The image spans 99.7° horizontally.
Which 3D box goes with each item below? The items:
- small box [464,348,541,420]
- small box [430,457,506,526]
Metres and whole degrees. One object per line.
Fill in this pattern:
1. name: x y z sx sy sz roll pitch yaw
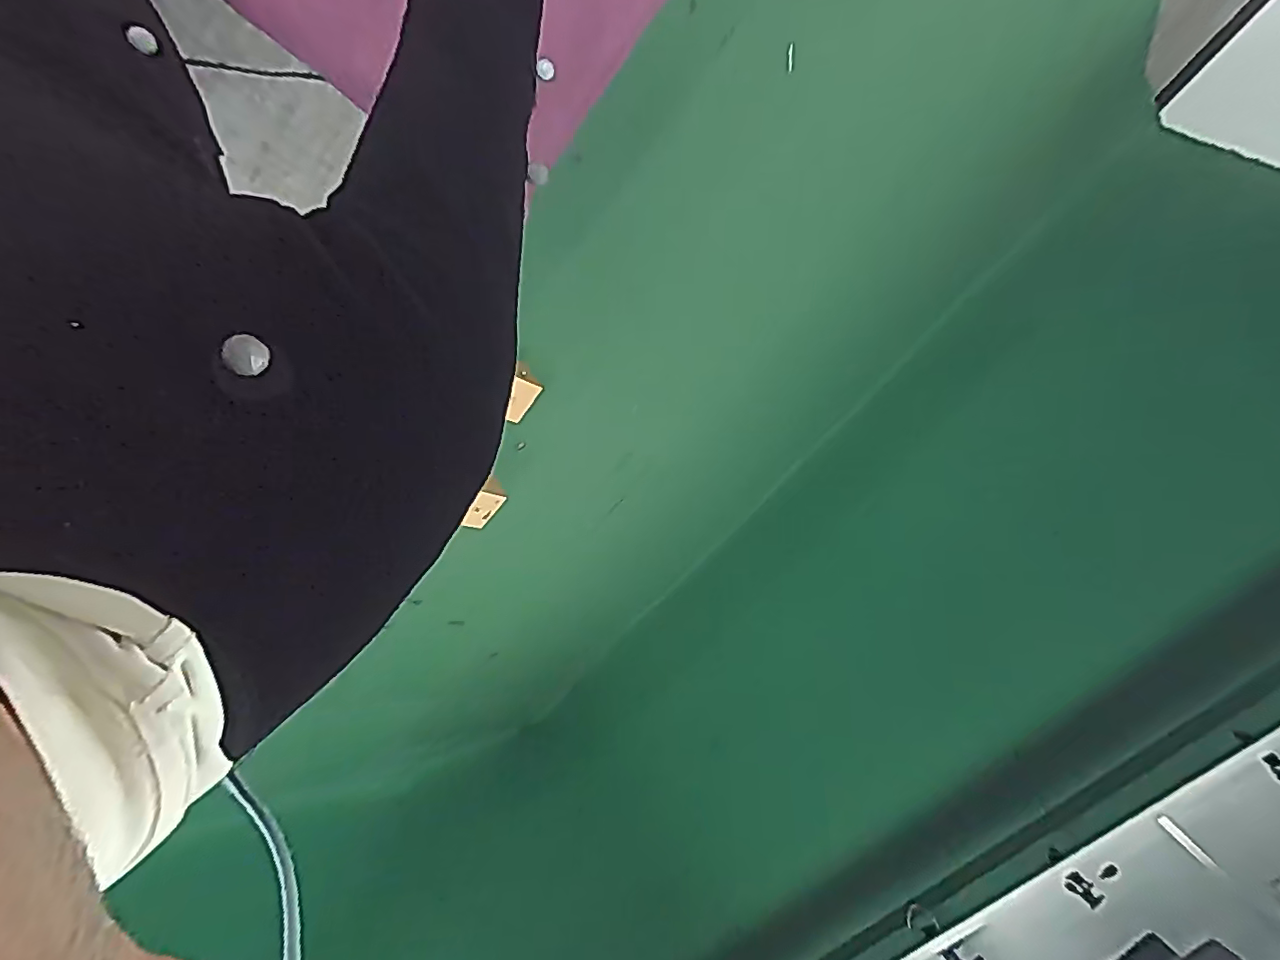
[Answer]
1. small box: -0.492 -0.343 1.913 0.168 0.176 0.179 -50 148 17
2. small box: -0.626 0.039 1.950 0.168 0.176 0.179 -46 146 14
